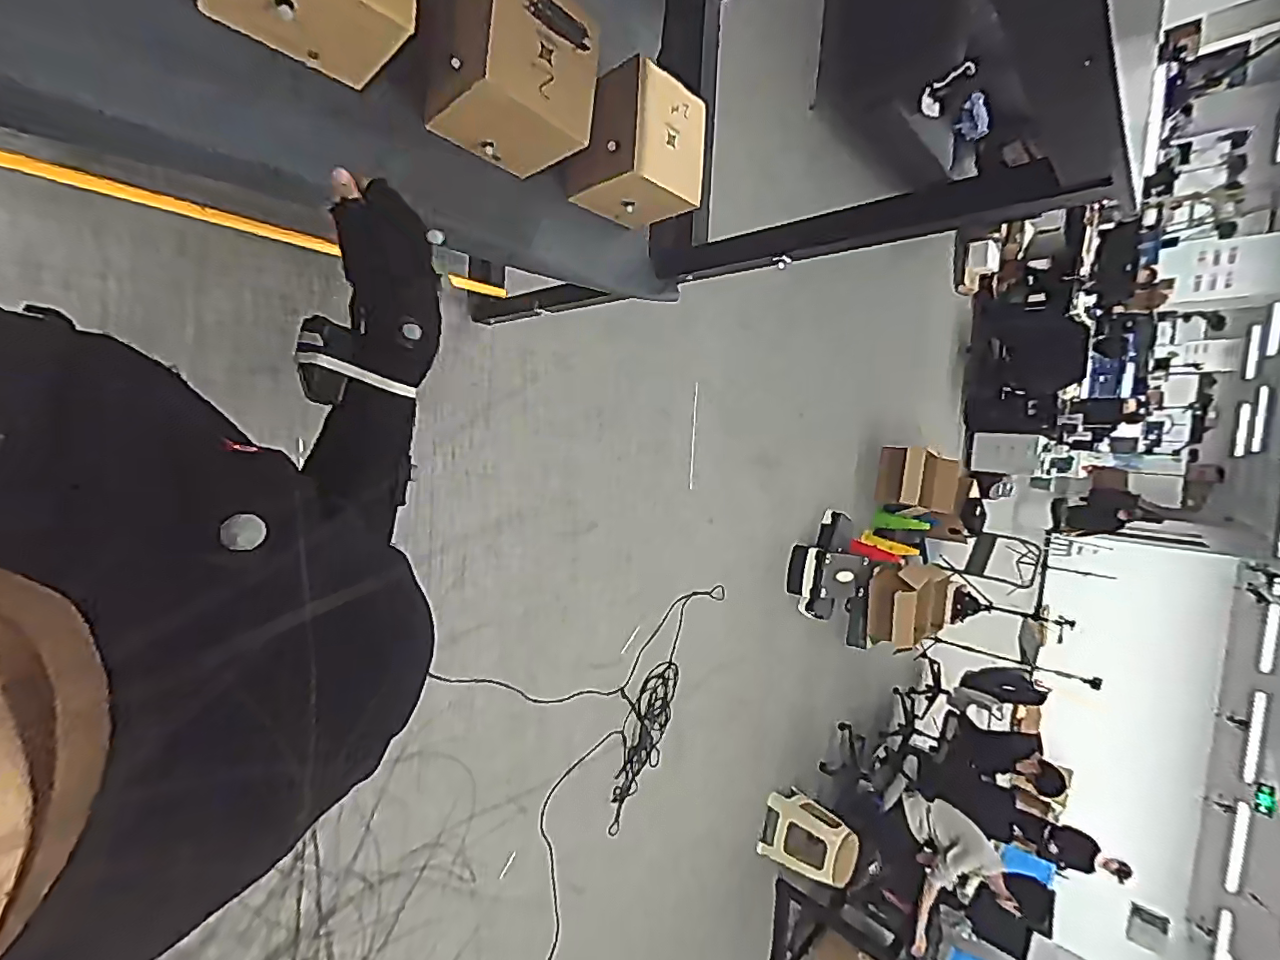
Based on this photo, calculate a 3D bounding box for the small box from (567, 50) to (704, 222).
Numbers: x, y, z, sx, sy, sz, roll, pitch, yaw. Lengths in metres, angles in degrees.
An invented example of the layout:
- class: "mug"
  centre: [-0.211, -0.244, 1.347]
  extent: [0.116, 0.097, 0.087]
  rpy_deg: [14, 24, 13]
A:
- class: "small box"
  centre: [-0.011, -0.571, 0.932]
  extent: [0.168, 0.176, 0.179]
  rpy_deg: [-2, 96, -46]

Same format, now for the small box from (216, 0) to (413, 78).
- class: "small box"
  centre: [-0.354, -0.584, 0.578]
  extent: [0.168, 0.176, 0.179]
  rpy_deg: [0, 96, -46]
